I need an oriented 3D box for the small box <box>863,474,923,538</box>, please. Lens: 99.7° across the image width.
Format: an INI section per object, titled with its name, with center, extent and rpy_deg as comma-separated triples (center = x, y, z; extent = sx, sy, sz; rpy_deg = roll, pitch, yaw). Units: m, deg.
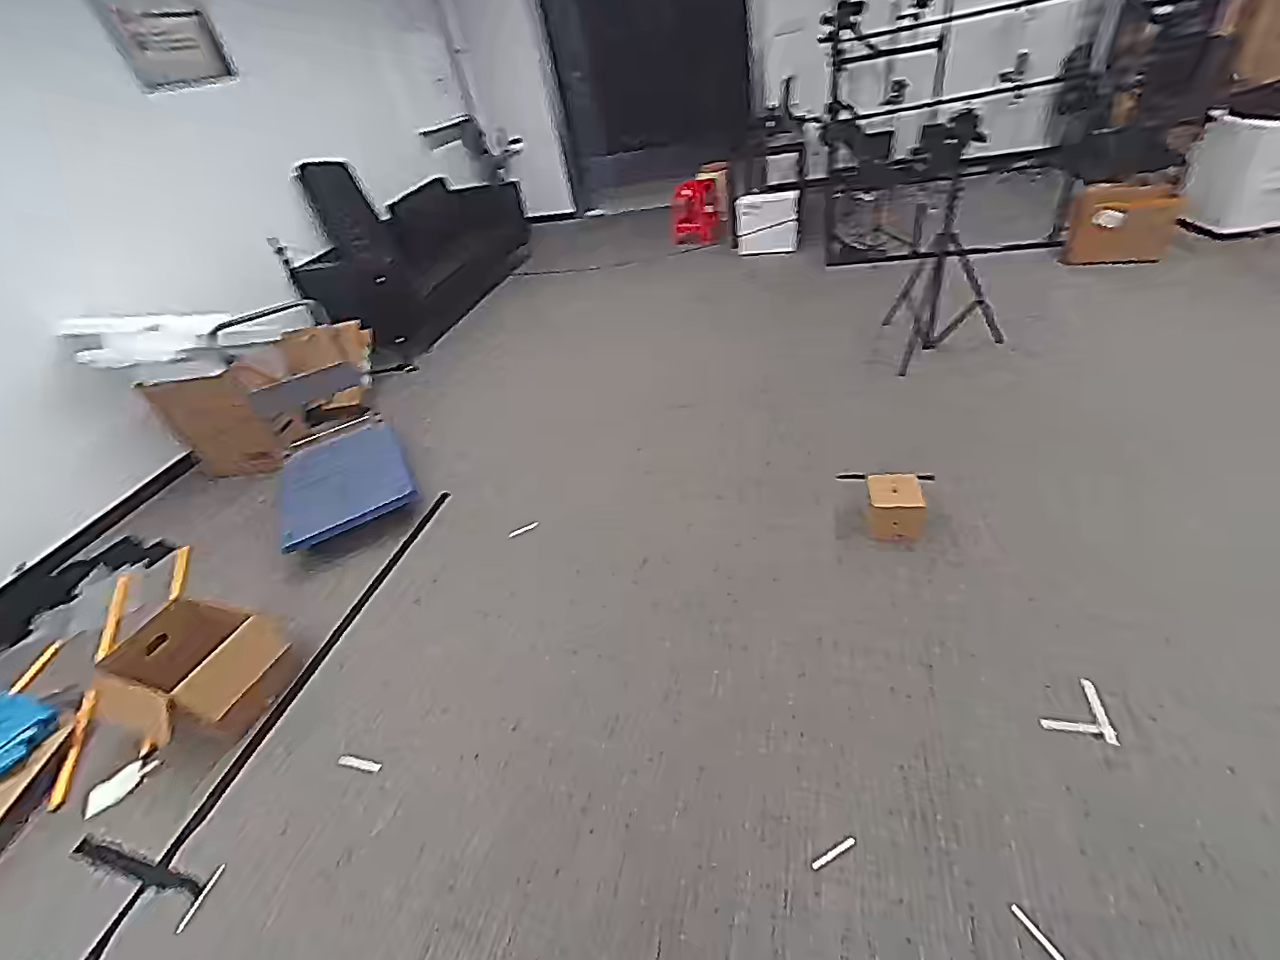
[small box]
center = 0.908, 0.097, 1.956
extent = 0.168, 0.176, 0.179
rpy_deg = -1, 39, 14
